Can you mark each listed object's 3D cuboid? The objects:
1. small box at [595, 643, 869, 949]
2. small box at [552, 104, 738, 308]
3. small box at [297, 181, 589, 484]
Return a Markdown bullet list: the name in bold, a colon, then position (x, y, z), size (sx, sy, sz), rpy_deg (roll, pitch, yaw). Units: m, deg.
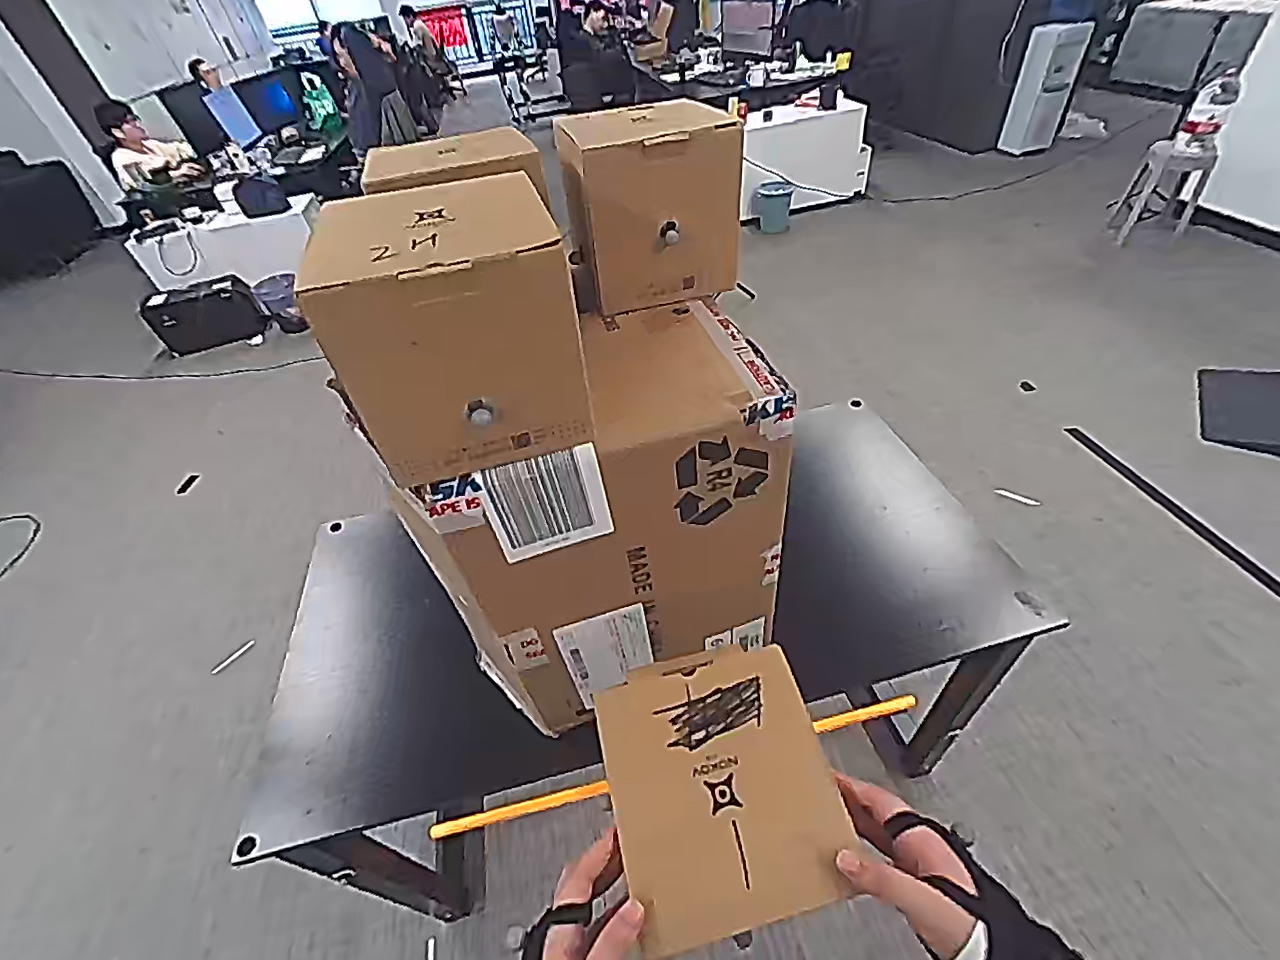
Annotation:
- **small box**: position (0.062, 0.272, 0.473), size (0.168, 0.176, 0.179), rpy_deg (-13, 53, -6)
- **small box**: position (0.004, -0.314, 0.630), size (0.168, 0.176, 0.179), rpy_deg (-14, 44, -8)
- **small box**: position (-0.148, -0.126, 0.452), size (0.168, 0.176, 0.179), rpy_deg (-15, 46, -9)
